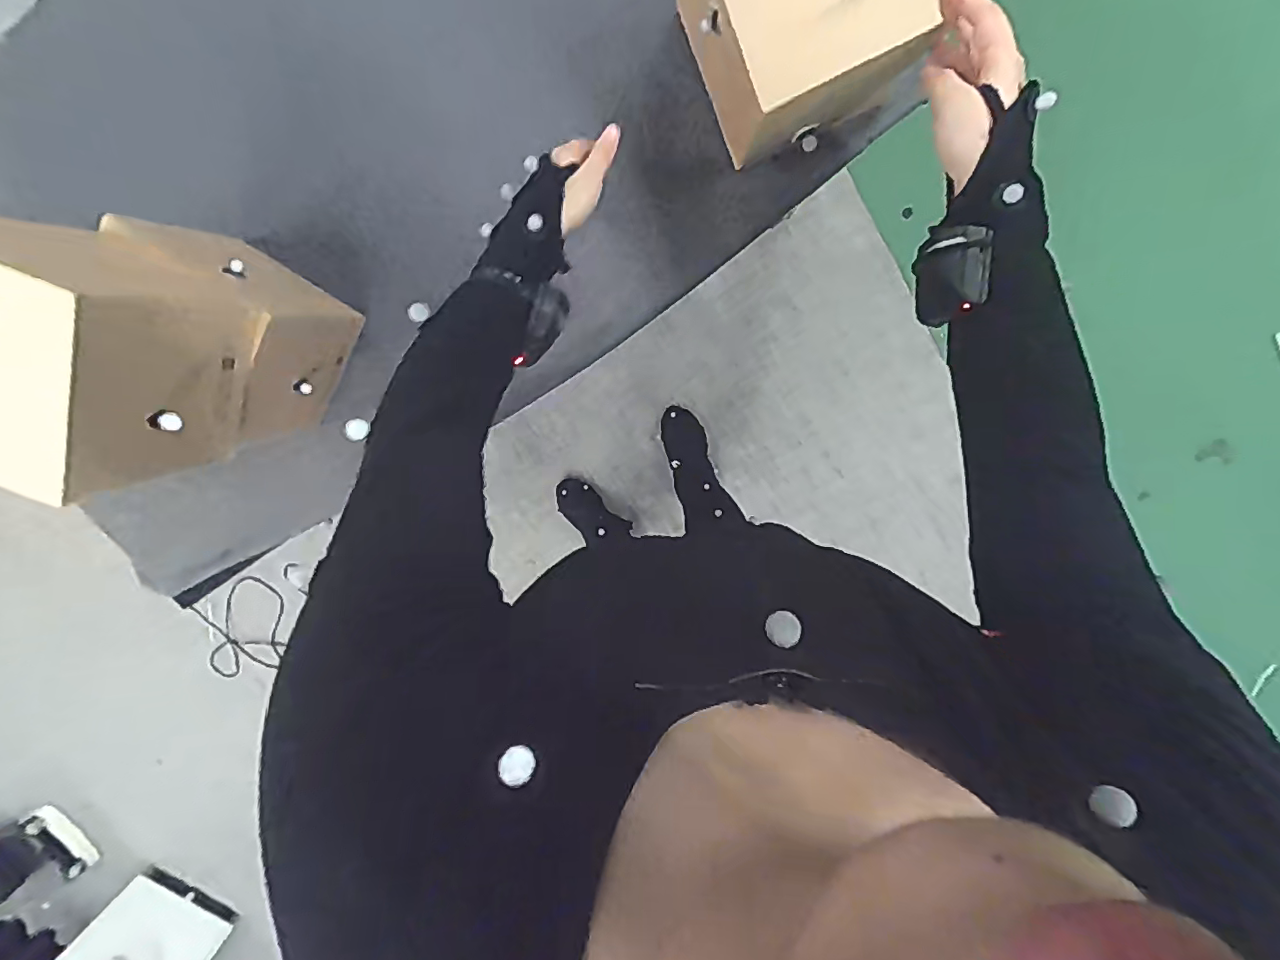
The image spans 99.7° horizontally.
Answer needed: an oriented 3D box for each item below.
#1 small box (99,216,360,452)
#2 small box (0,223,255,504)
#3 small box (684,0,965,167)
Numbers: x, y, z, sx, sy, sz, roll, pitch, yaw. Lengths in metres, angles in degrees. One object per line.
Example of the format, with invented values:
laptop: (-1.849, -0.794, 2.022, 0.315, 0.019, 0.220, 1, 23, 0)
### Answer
small box: (-0.458, -0.160, 0.606, 0.179, 0.176, 0.168, 32, 105, -5)
small box: (-0.471, -0.107, 0.454, 0.179, 0.176, 0.168, 22, 107, -2)
small box: (0.144, -0.420, 0.480, 0.168, 0.176, 0.179, -22, 104, 9)
